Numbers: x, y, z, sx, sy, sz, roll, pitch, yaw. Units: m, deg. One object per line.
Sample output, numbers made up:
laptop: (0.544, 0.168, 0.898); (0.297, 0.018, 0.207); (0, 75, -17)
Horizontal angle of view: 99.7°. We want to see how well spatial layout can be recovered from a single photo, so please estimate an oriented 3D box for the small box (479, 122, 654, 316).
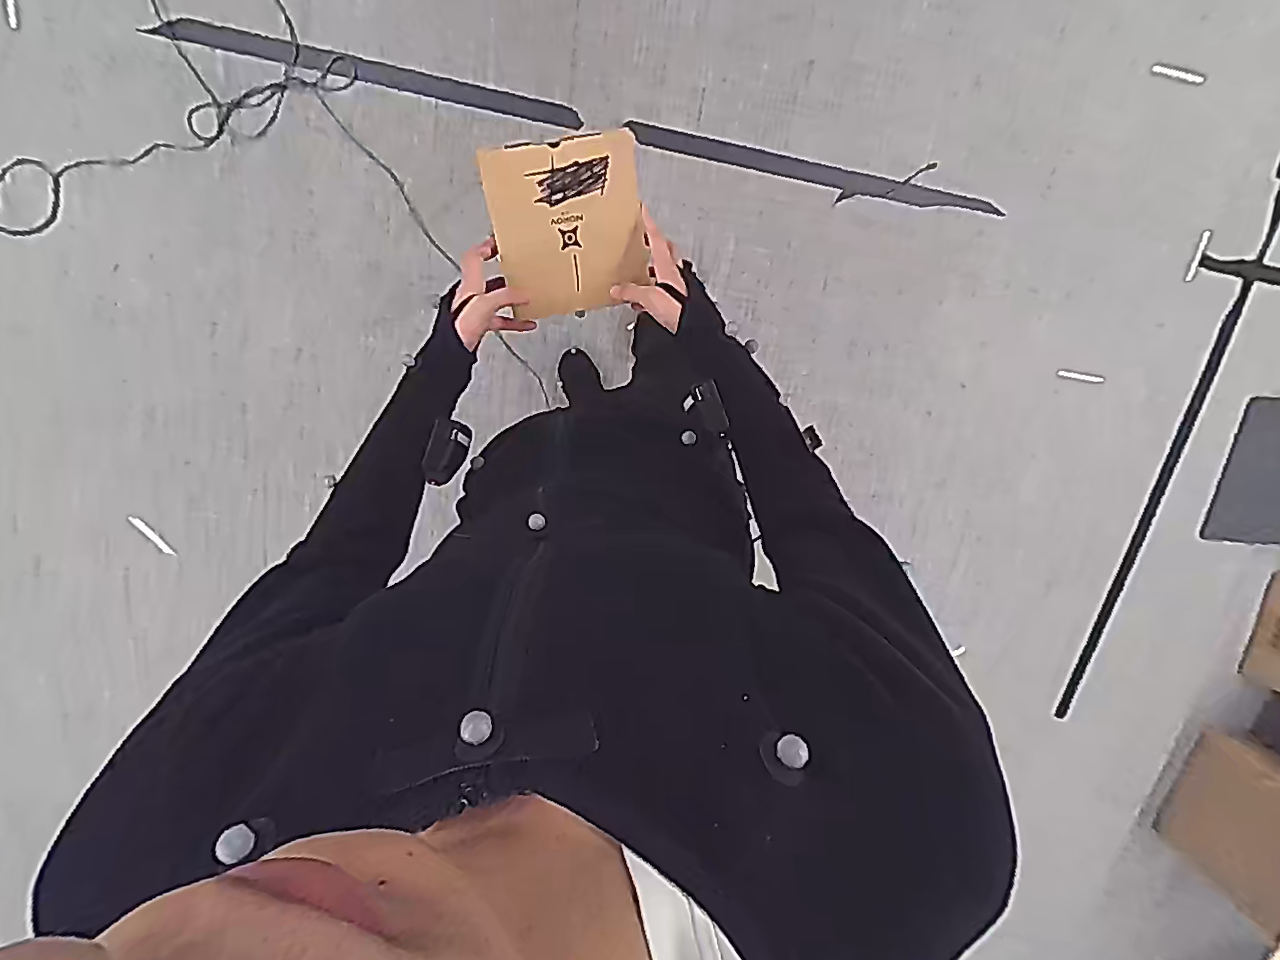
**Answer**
small box: (-0.084, -0.306, 0.658); (0.168, 0.176, 0.179); (-10, 113, -2)
